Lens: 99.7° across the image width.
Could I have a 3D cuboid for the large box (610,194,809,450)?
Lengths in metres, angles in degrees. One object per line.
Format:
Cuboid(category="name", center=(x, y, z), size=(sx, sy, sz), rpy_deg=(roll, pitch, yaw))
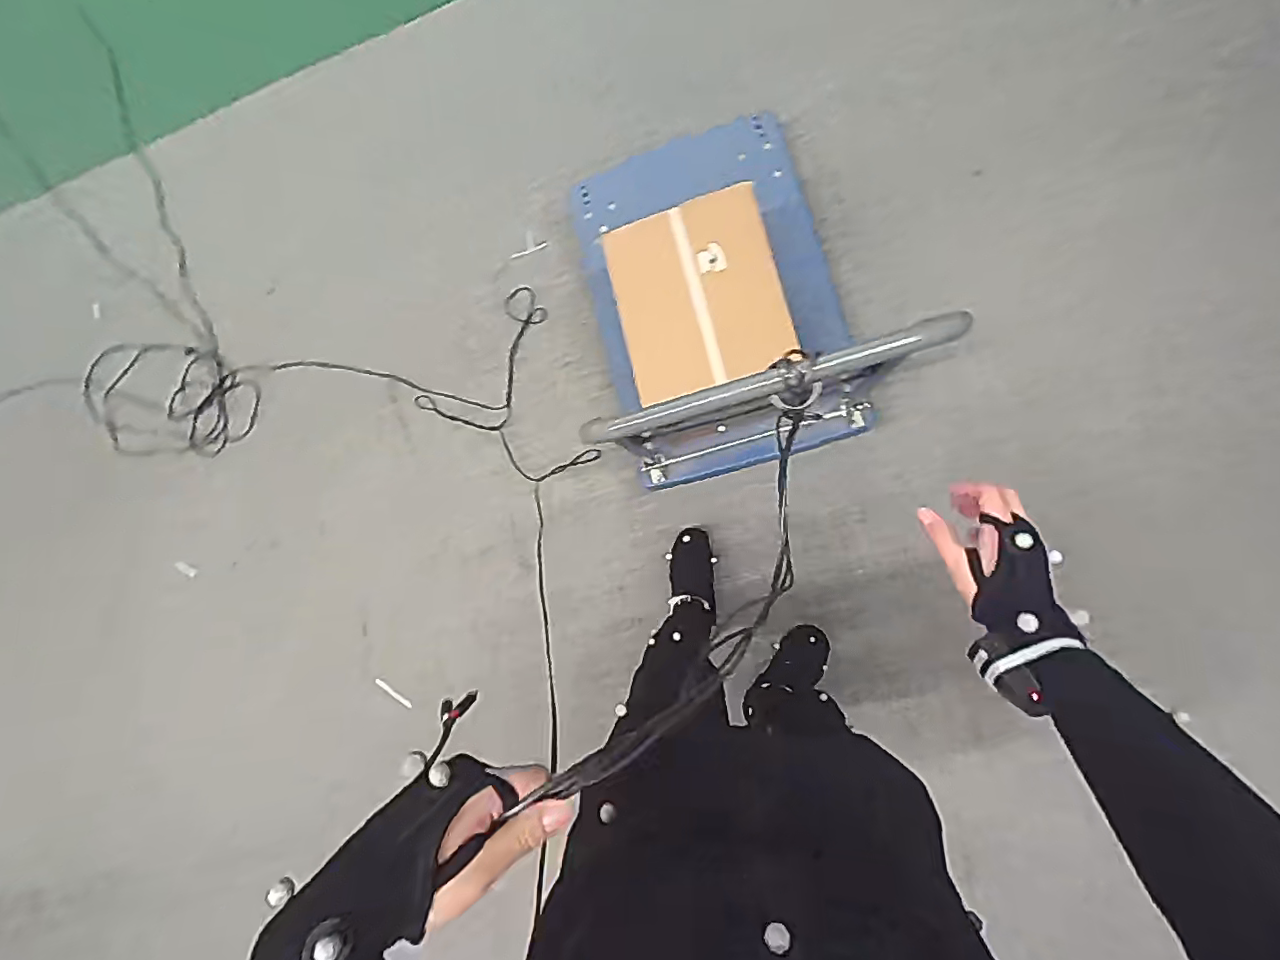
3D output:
Cuboid(category="large box", center=(0.160, -0.320, 1.204), size=(0.320, 0.320, 0.408), rpy_deg=(-15, 79, 10))
